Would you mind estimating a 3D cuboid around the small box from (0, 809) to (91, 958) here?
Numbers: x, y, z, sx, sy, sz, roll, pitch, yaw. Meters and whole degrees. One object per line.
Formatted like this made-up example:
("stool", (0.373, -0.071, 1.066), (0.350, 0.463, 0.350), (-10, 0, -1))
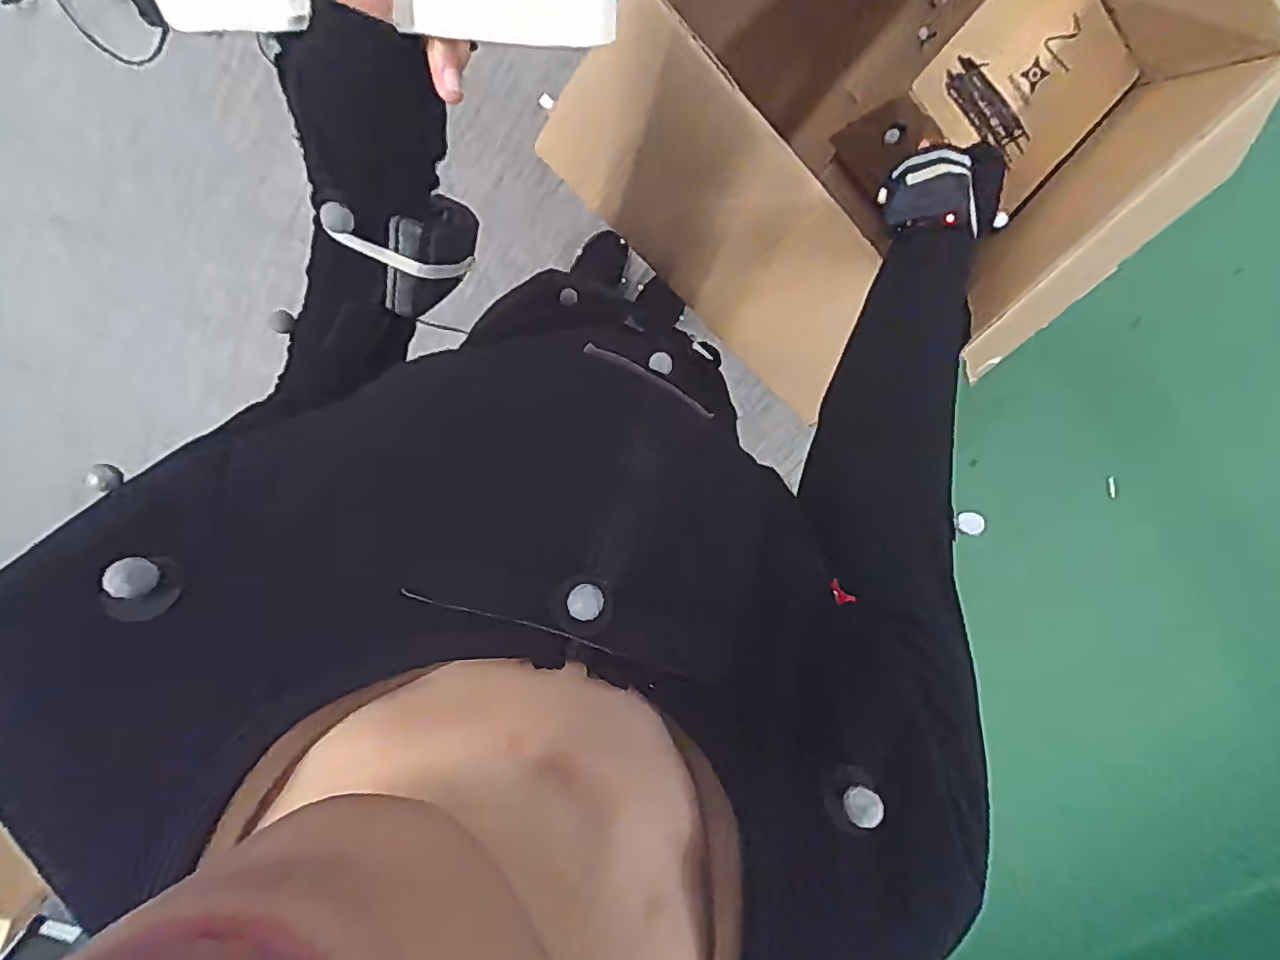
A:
("small box", (-1.261, 0.796, 1.075), (0.168, 0.176, 0.179), (32, 113, -15))
